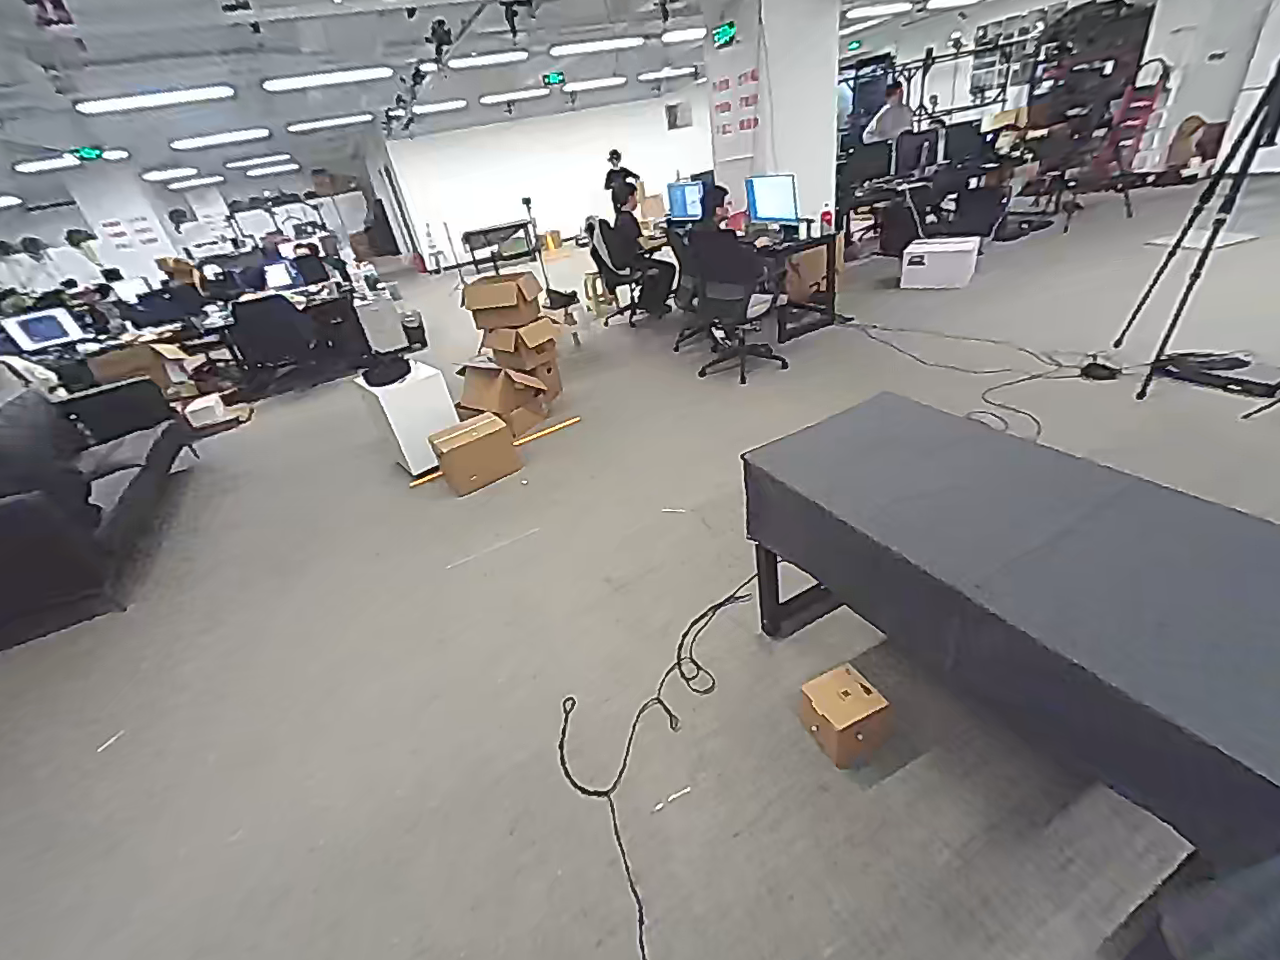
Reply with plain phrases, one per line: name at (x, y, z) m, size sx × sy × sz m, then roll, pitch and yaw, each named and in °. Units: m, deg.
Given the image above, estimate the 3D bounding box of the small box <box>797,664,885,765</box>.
small box at (0.574, 0.673, 1.549) m, size 0.179 × 0.176 × 0.168 m, roll -19°, pitch 31°, yaw -15°
